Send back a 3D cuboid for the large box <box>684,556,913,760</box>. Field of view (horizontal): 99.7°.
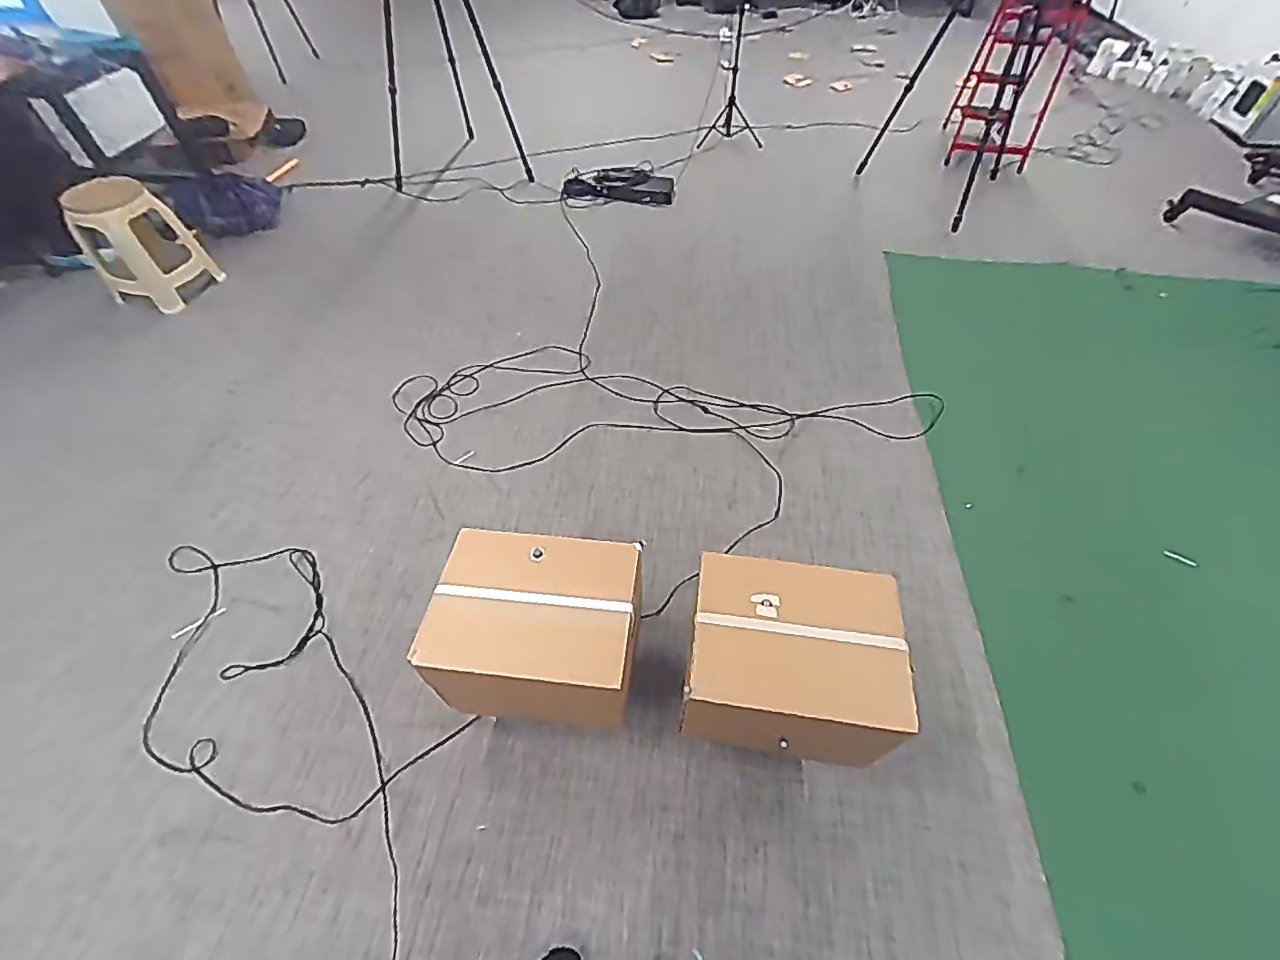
[{"bbox_3d":[0.316,0.394,1.184,0.408,0.320,0.320,7,52,6],"label":"large box"}]
